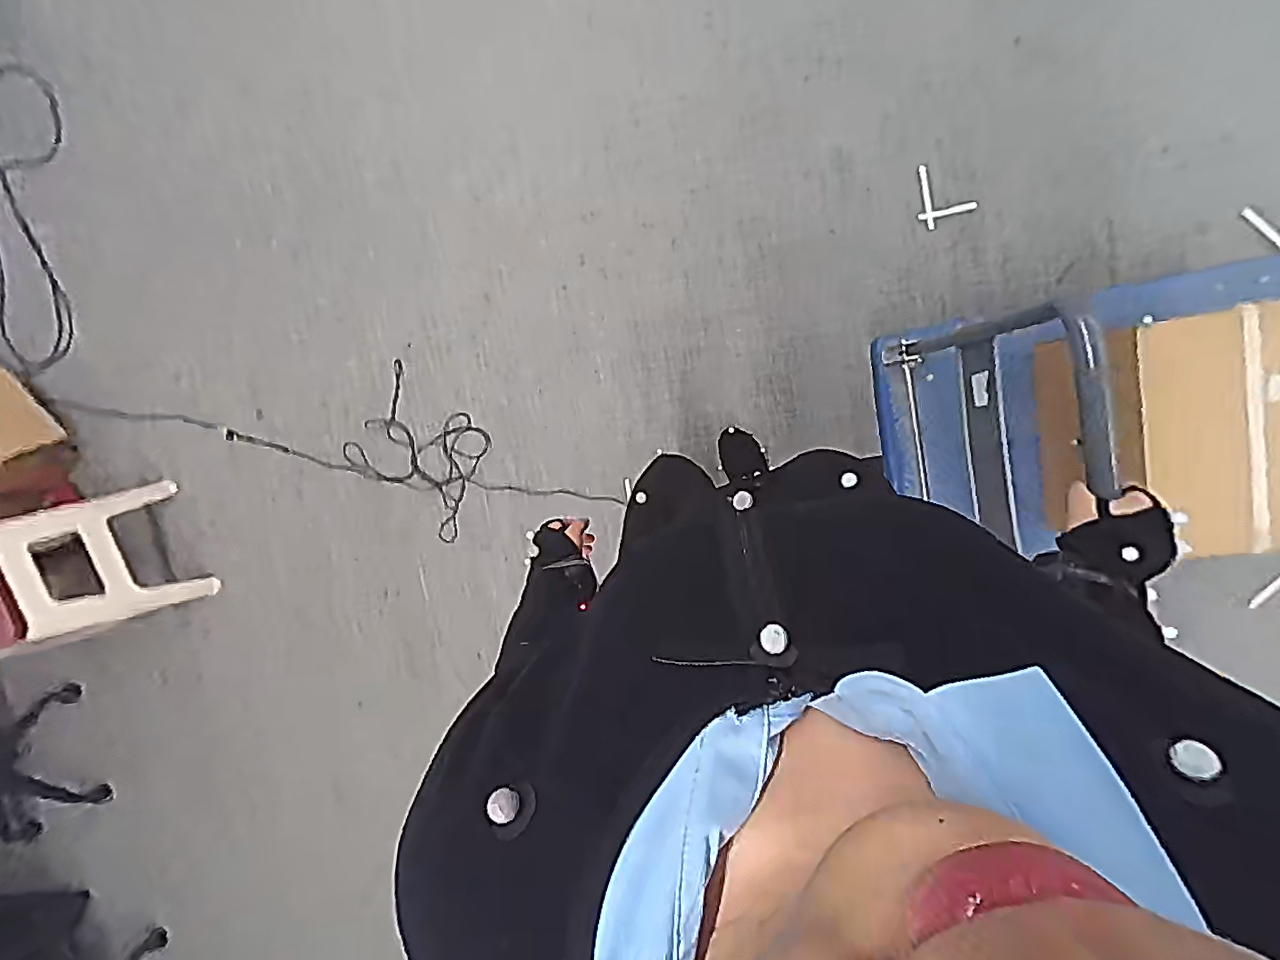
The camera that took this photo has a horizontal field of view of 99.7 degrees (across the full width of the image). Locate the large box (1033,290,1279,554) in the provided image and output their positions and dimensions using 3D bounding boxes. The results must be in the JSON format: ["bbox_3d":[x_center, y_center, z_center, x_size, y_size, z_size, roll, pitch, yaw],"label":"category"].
[{"bbox_3d":[1.007,-0.107,1.017,0.320,0.320,0.408,-9,94,8],"label":"large box"}]
